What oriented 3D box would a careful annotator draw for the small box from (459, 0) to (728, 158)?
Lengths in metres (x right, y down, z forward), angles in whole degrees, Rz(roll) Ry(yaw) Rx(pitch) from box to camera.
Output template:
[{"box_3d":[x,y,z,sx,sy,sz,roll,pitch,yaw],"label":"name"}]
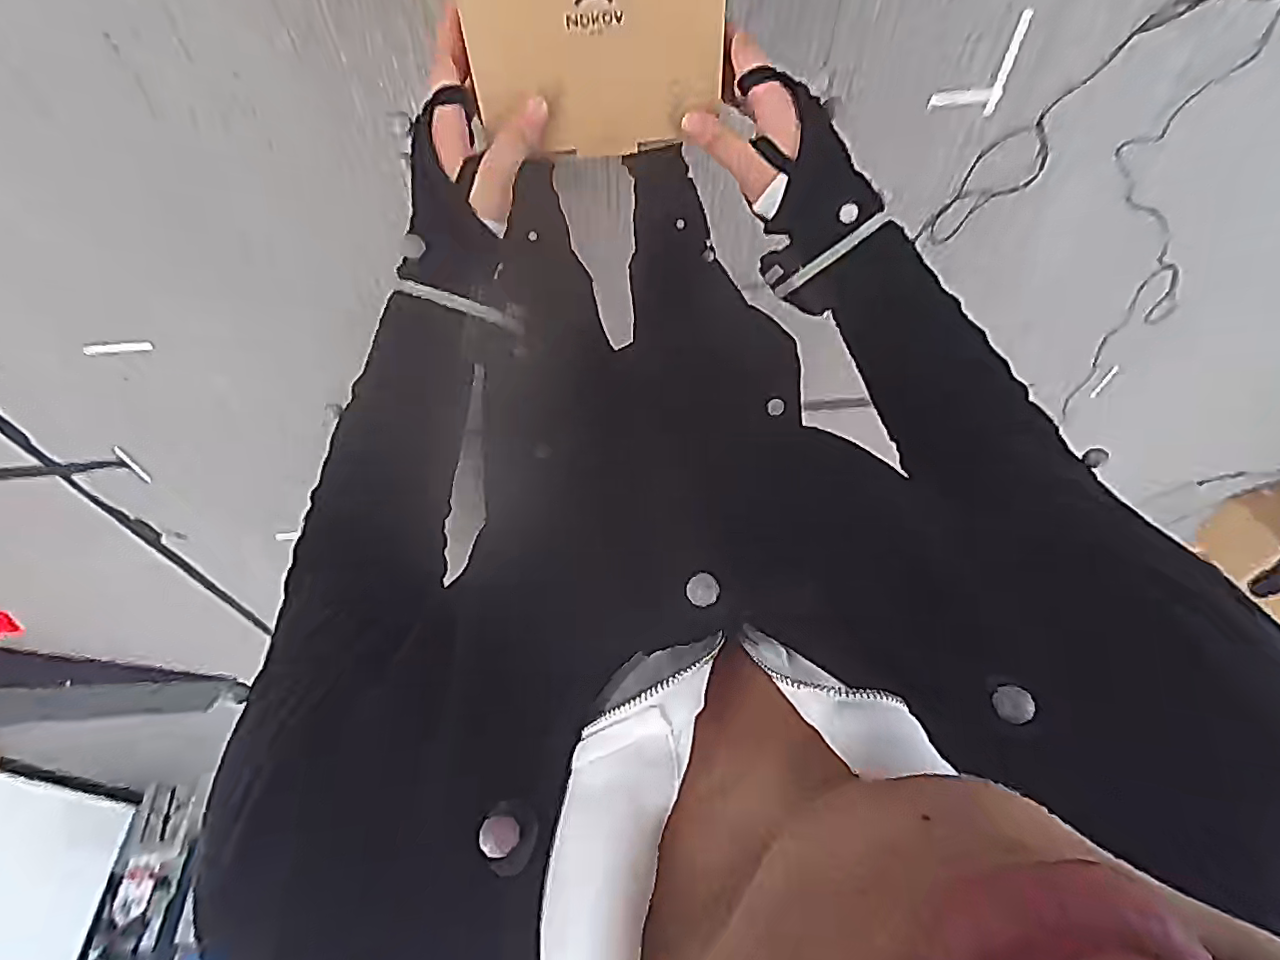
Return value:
[{"box_3d":[-0.039,-0.353,0.375,0.168,0.176,0.179,-10,136,-4],"label":"small box"}]
